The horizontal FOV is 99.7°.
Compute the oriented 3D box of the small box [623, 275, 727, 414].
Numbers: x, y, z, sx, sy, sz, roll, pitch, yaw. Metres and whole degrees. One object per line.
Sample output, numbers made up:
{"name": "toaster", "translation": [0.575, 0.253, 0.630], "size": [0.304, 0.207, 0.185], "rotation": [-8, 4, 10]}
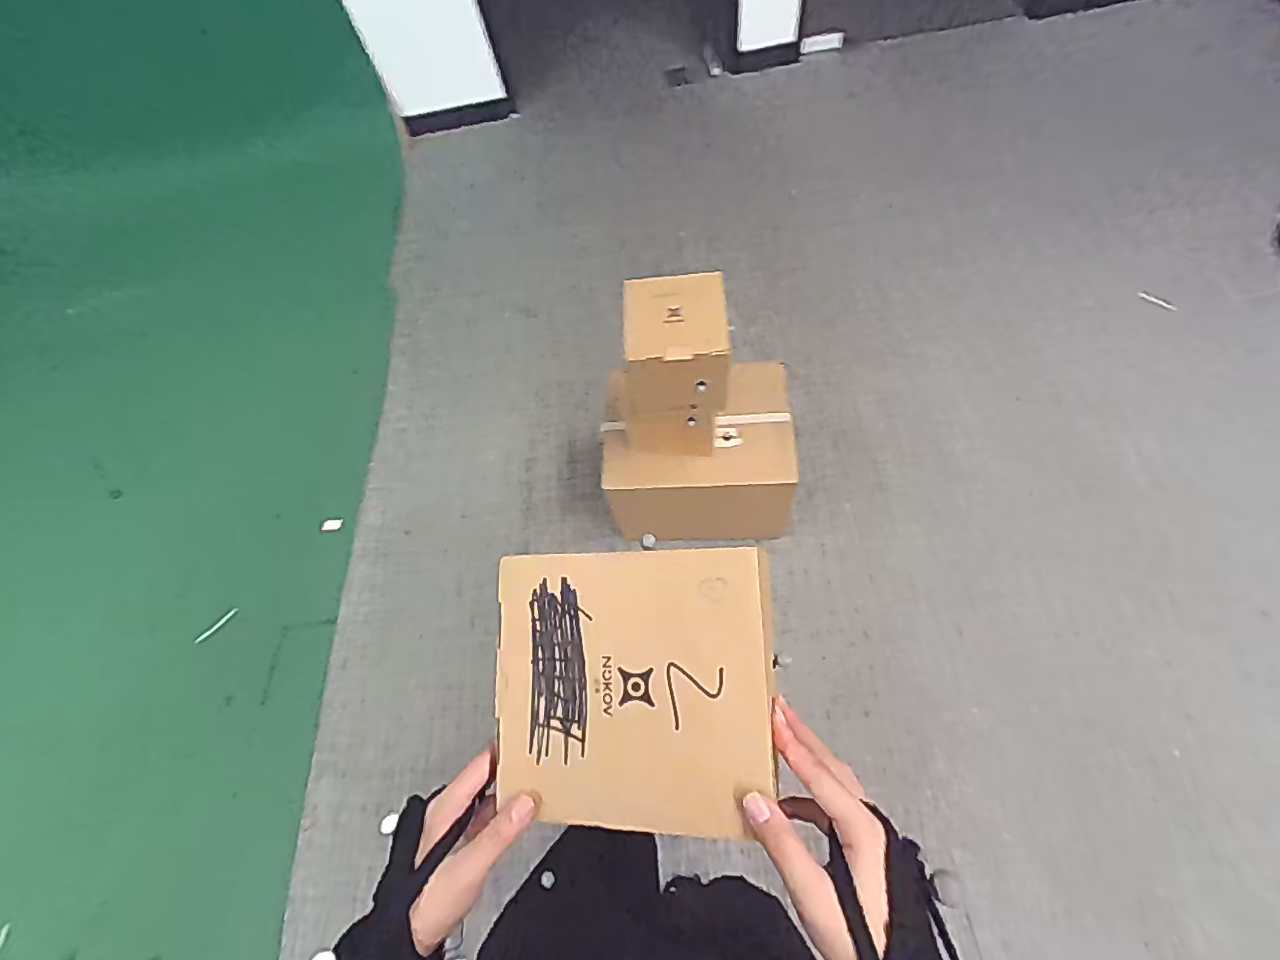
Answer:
{"name": "small box", "translation": [0.062, -0.227, 0.946], "size": [0.168, 0.176, 0.179], "rotation": [-4, 62, 4]}

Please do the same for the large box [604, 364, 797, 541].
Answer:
{"name": "large box", "translation": [0.134, -0.052, 1.304], "size": [0.408, 0.320, 0.320], "rotation": [-2, 64, 5]}

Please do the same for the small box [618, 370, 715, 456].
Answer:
{"name": "small box", "translation": [0.063, -0.161, 1.095], "size": [0.179, 0.176, 0.168], "rotation": [3, 63, 9]}
